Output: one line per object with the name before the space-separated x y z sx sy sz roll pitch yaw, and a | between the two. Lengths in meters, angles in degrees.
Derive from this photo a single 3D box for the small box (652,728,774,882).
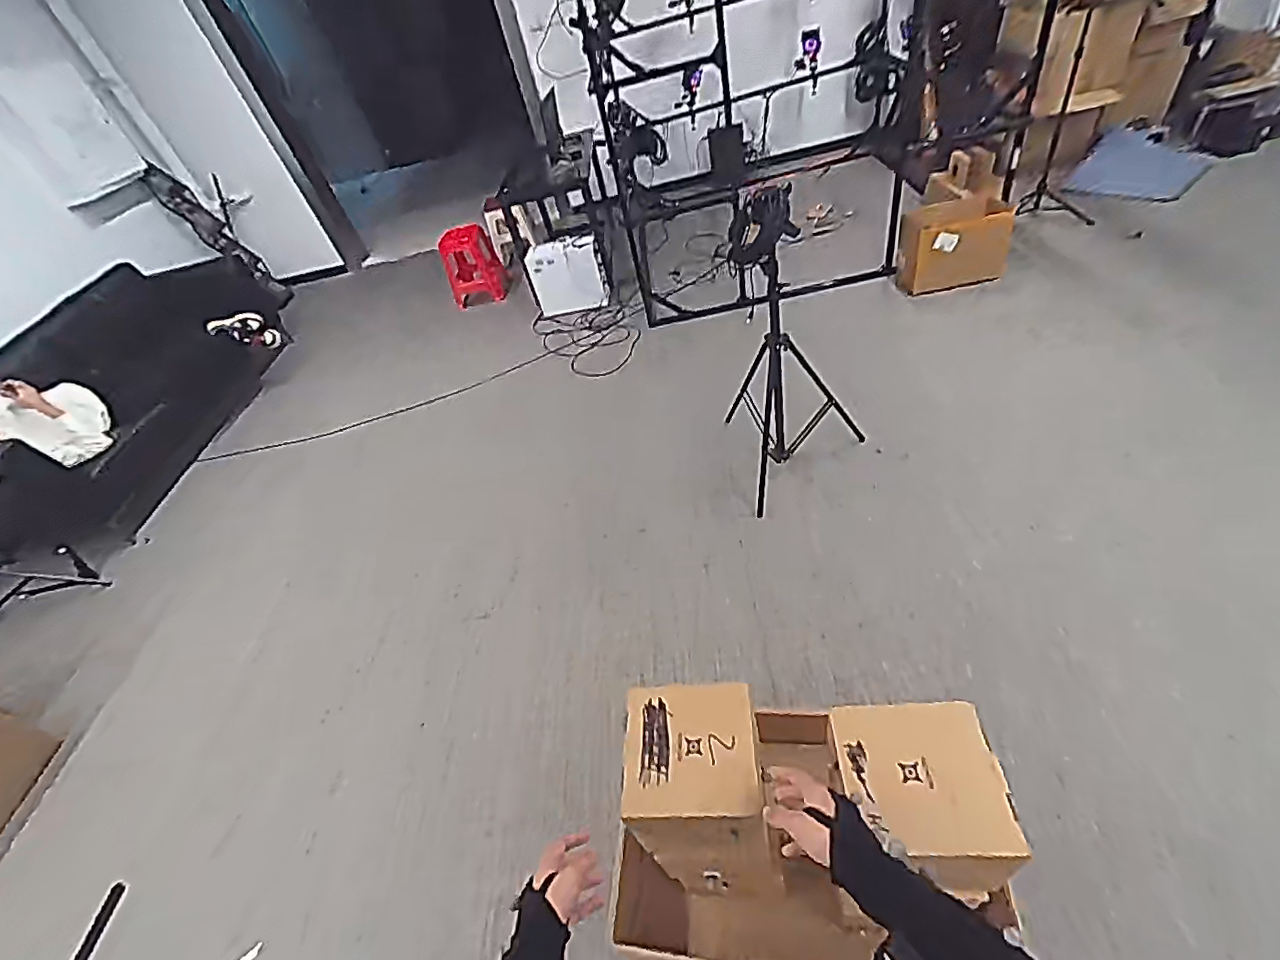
small box | 0.118 0.523 0.870 0.168 0.176 0.179 -9 43 11

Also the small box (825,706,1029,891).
small box | 0.341 0.403 0.686 0.179 0.176 0.168 -6 43 11

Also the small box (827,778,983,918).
small box | 0.373 0.521 0.796 0.168 0.176 0.179 -5 43 12

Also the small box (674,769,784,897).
small box | 0.161 0.638 0.979 0.179 0.176 0.168 -5 45 11
